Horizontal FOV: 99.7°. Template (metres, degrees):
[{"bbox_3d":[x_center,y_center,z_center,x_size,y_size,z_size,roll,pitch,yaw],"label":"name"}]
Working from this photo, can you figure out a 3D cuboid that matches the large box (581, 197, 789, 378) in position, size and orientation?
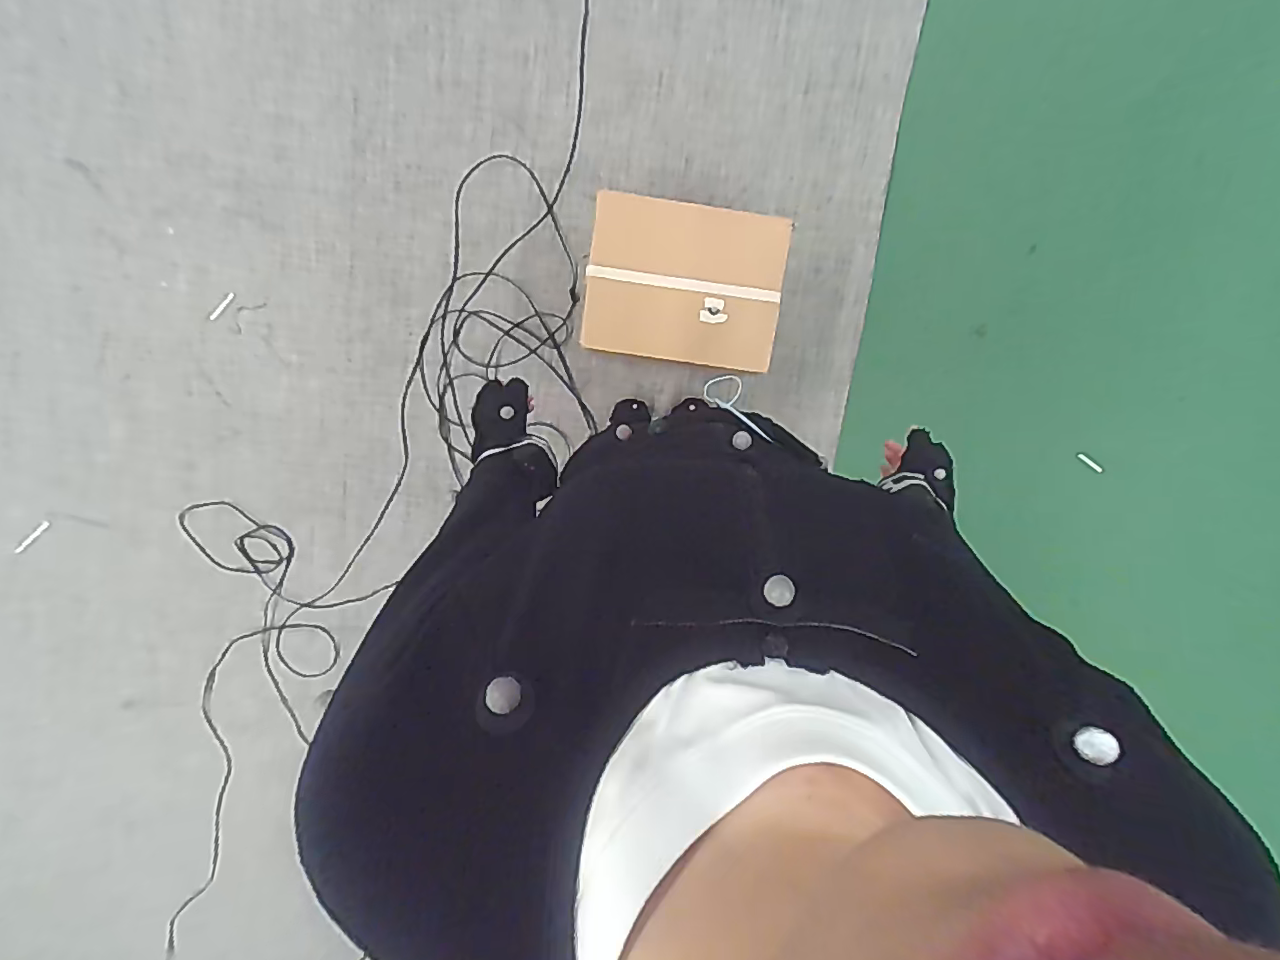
[{"bbox_3d":[0.085,-0.421,1.265,0.408,0.320,0.320,8,99,-3],"label":"large box"}]
